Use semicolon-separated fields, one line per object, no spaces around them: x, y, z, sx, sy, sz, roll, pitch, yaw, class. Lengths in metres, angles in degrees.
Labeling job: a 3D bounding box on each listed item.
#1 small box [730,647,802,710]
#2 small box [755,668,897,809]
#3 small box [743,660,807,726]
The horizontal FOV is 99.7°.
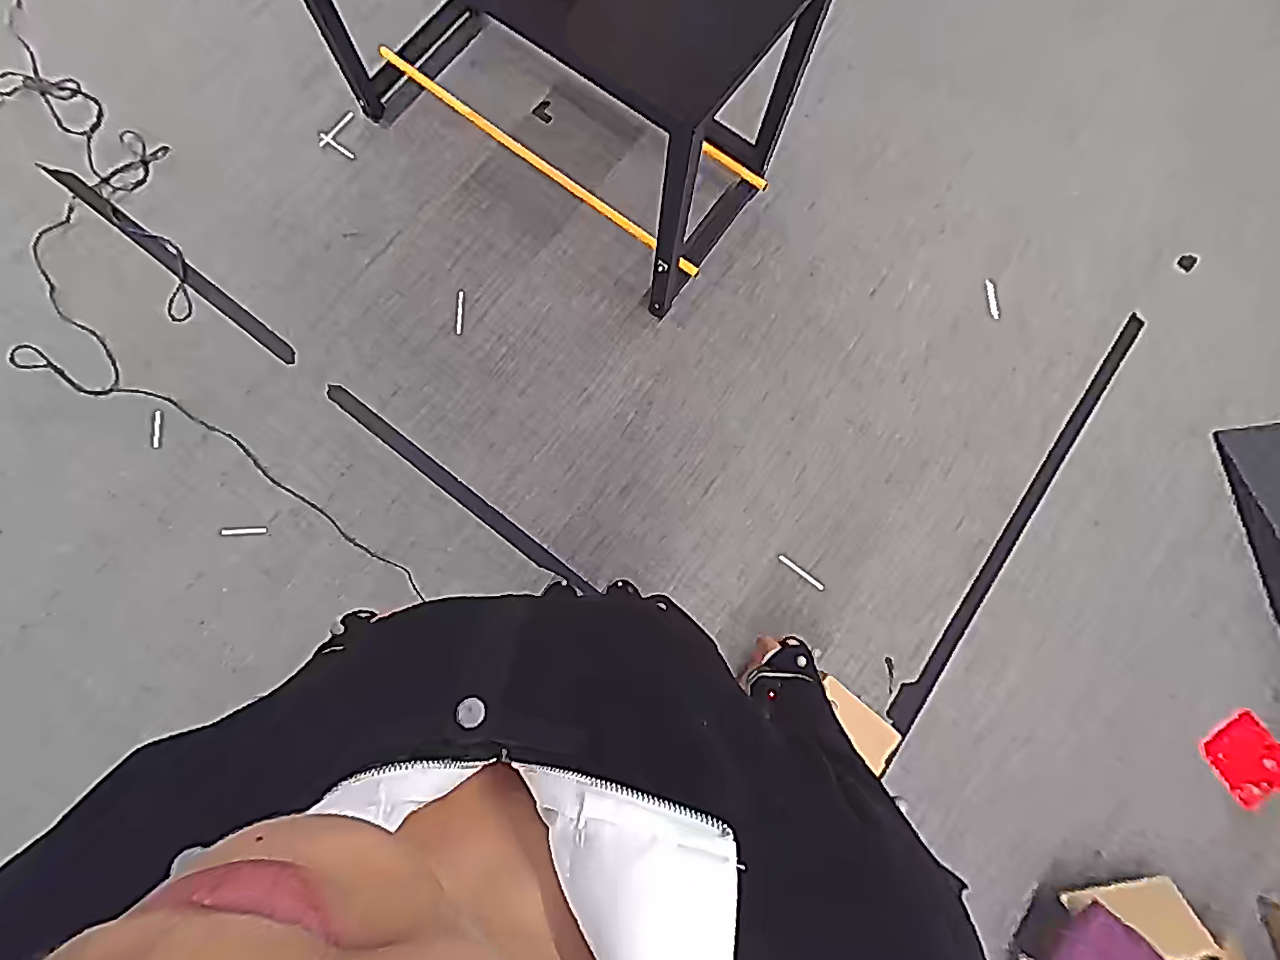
0.355;0.556;1.397;0.168;0.176;0.179;40;81;5;small box
0.359;0.497;1.074;0.179;0.176;0.168;40;79;6;small box
0.363;0.534;1.233;0.179;0.176;0.168;40;80;5;small box
